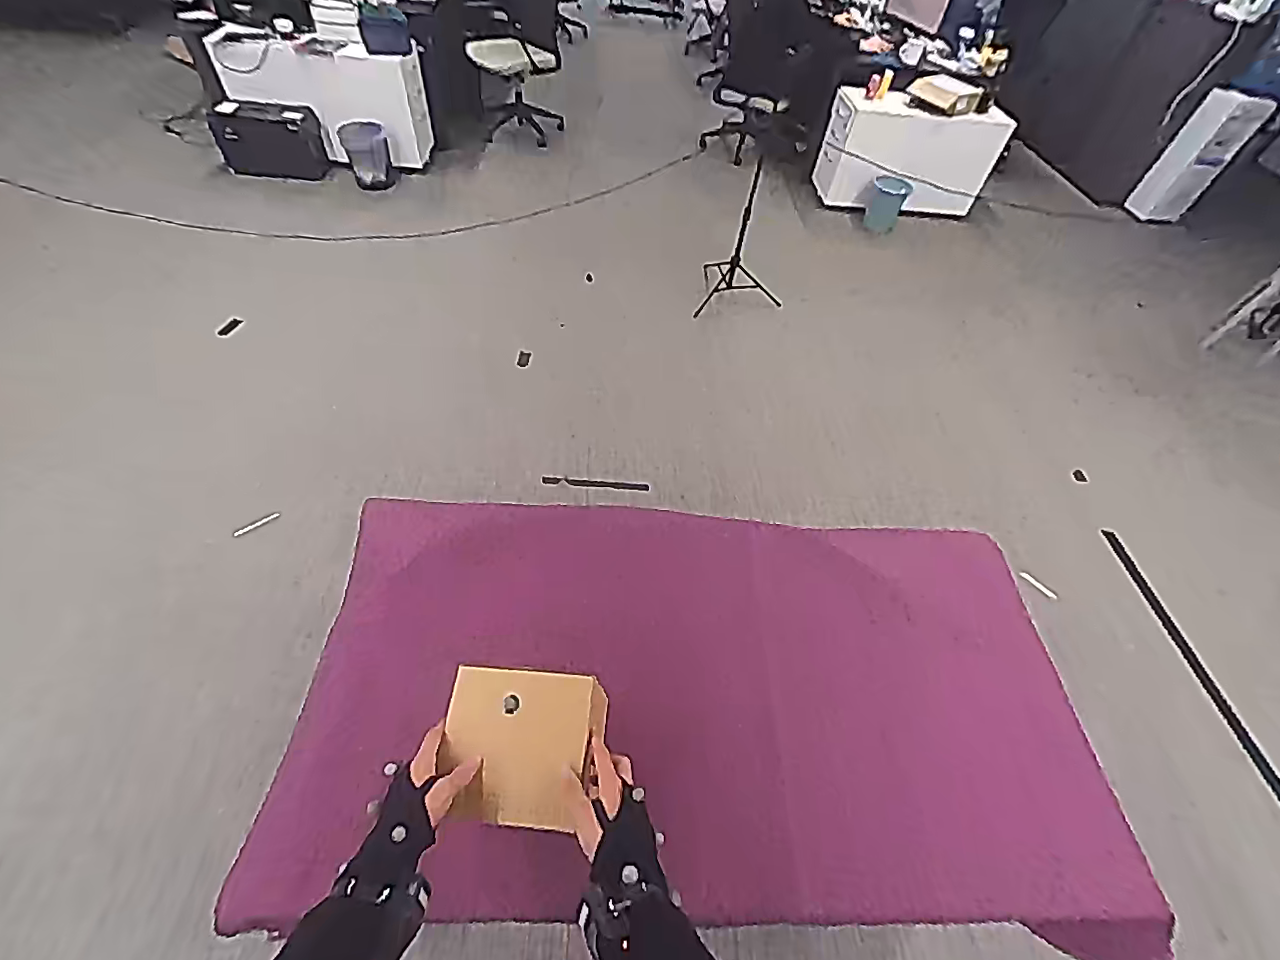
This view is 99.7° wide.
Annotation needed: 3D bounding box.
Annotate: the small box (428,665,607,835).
[{"bbox_3d":[-0.146,0.349,0.695,0.179,0.168,0.176,3,59,5],"label":"small box"}]
